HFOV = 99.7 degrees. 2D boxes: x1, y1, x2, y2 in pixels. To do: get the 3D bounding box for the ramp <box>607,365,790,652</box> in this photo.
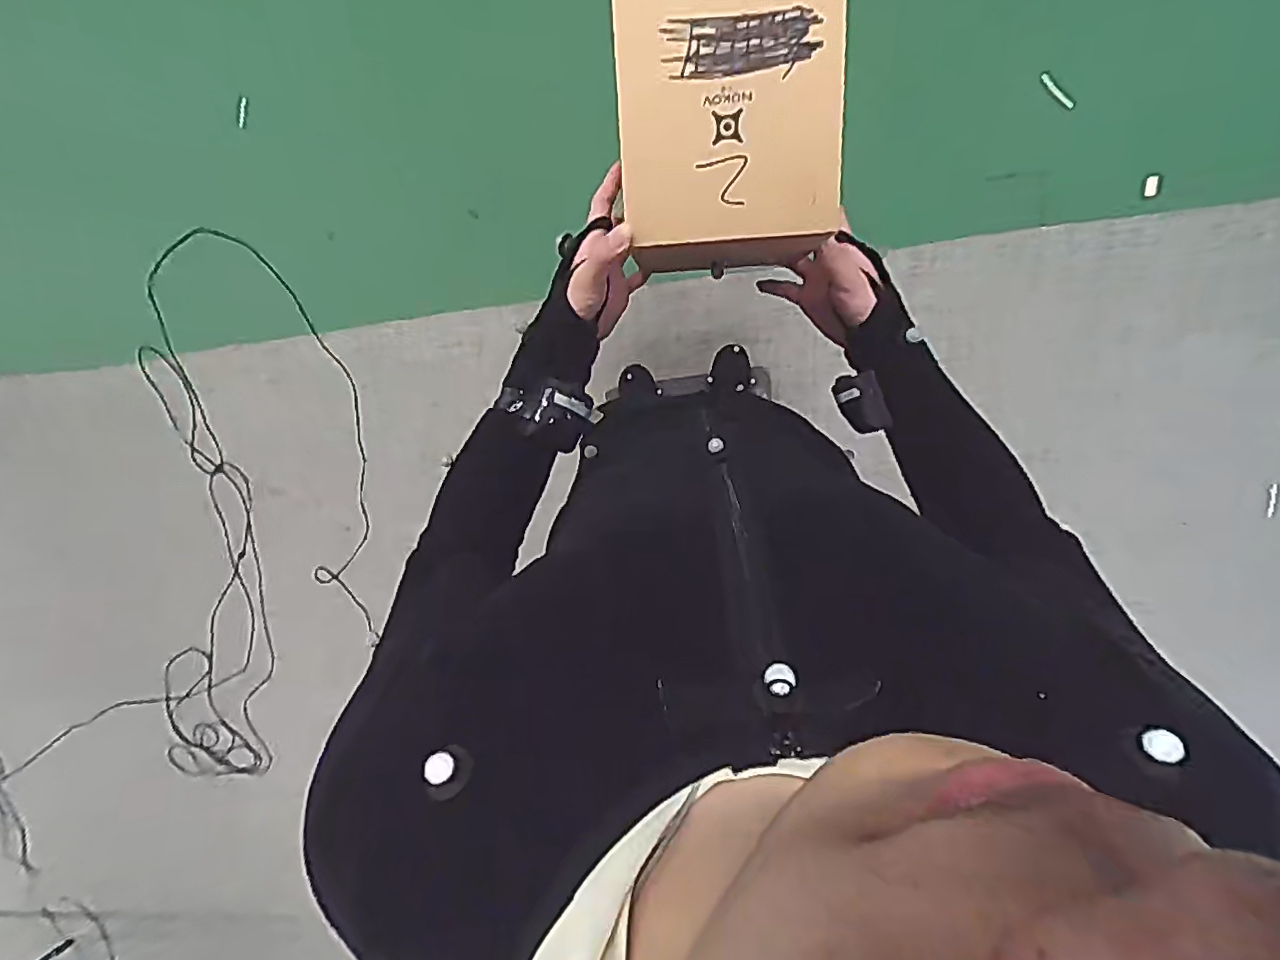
[{"bbox_3d":[0.221,0.152,1.761,0.509,0.206,0.991,-8,103,7],"label":"ramp"}]
